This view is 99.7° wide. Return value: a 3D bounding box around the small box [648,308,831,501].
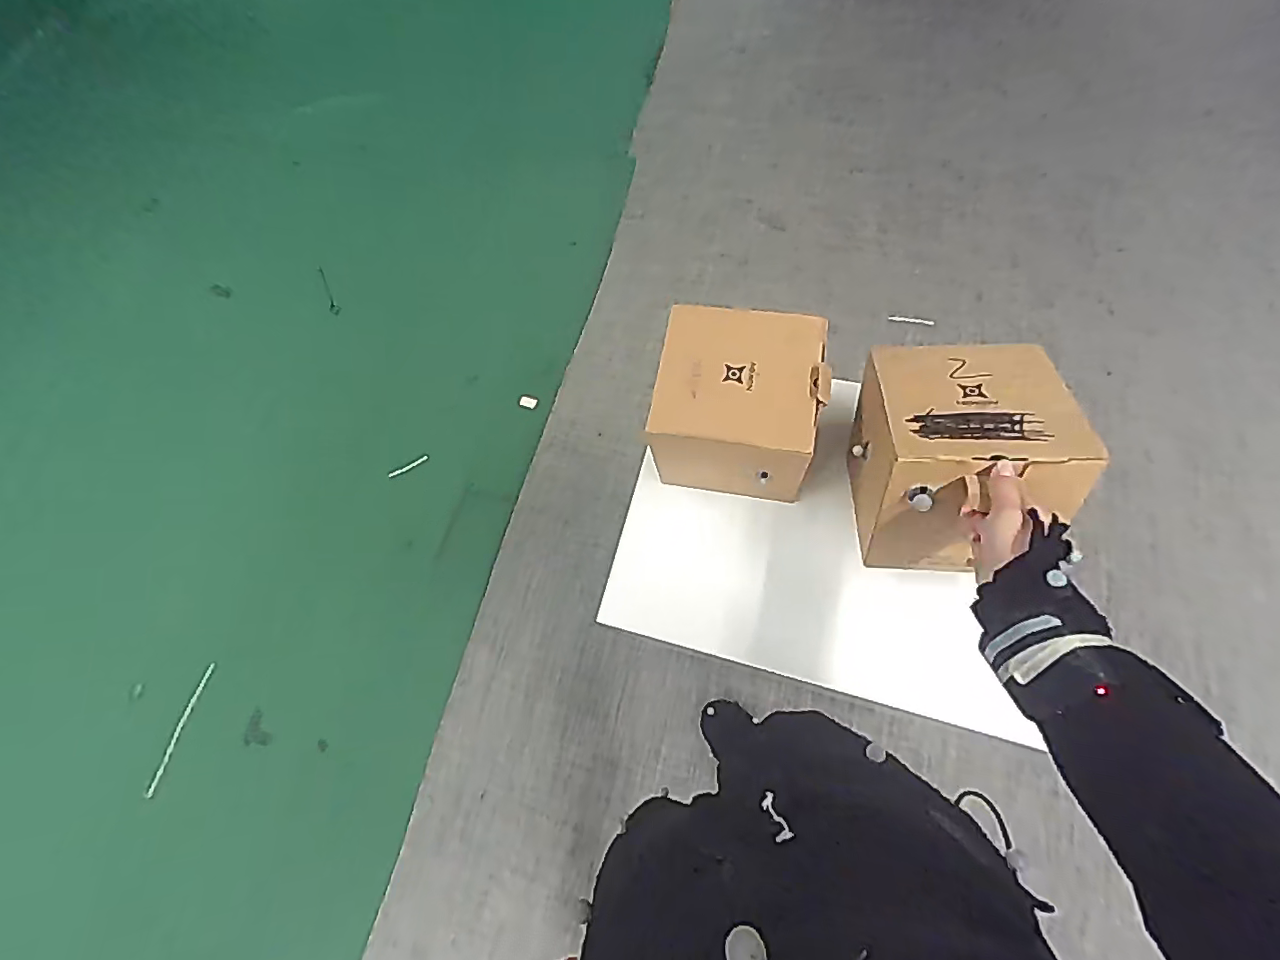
[{"bbox_3d":[0.119,-0.082,0.653,0.179,0.176,0.168,8,71,12],"label":"small box"}]
